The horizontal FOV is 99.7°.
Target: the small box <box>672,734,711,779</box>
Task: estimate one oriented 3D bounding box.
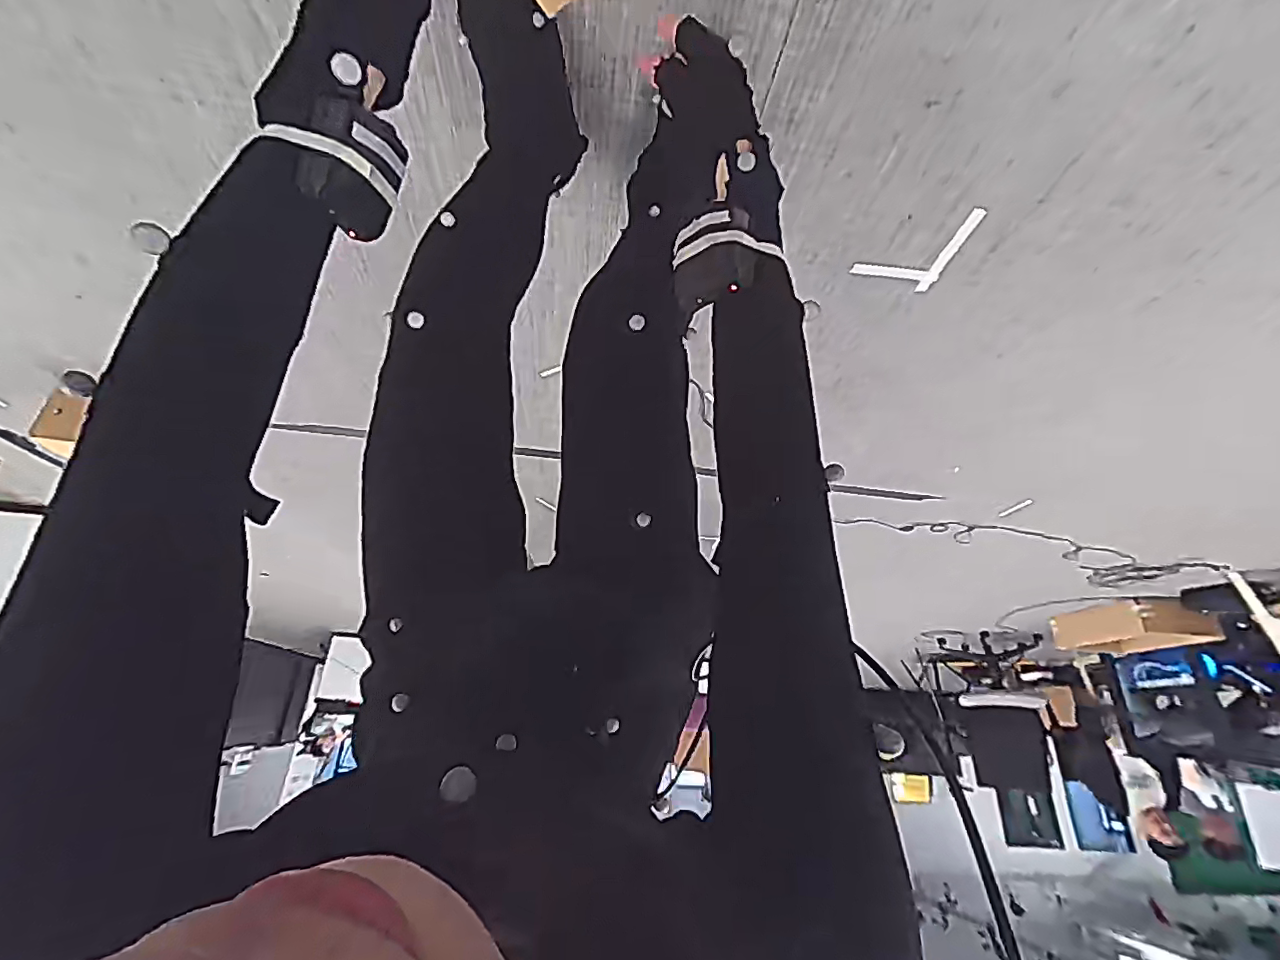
[{"bbox_3d":[0.224,1.219,2.389,0.168,0.176,0.179,1,154,5],"label":"small box"}]

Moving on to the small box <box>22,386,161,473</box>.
[{"bbox_3d":[-1.458,-0.136,1.453,0.179,0.176,0.168,5,155,-6],"label":"small box"}]
